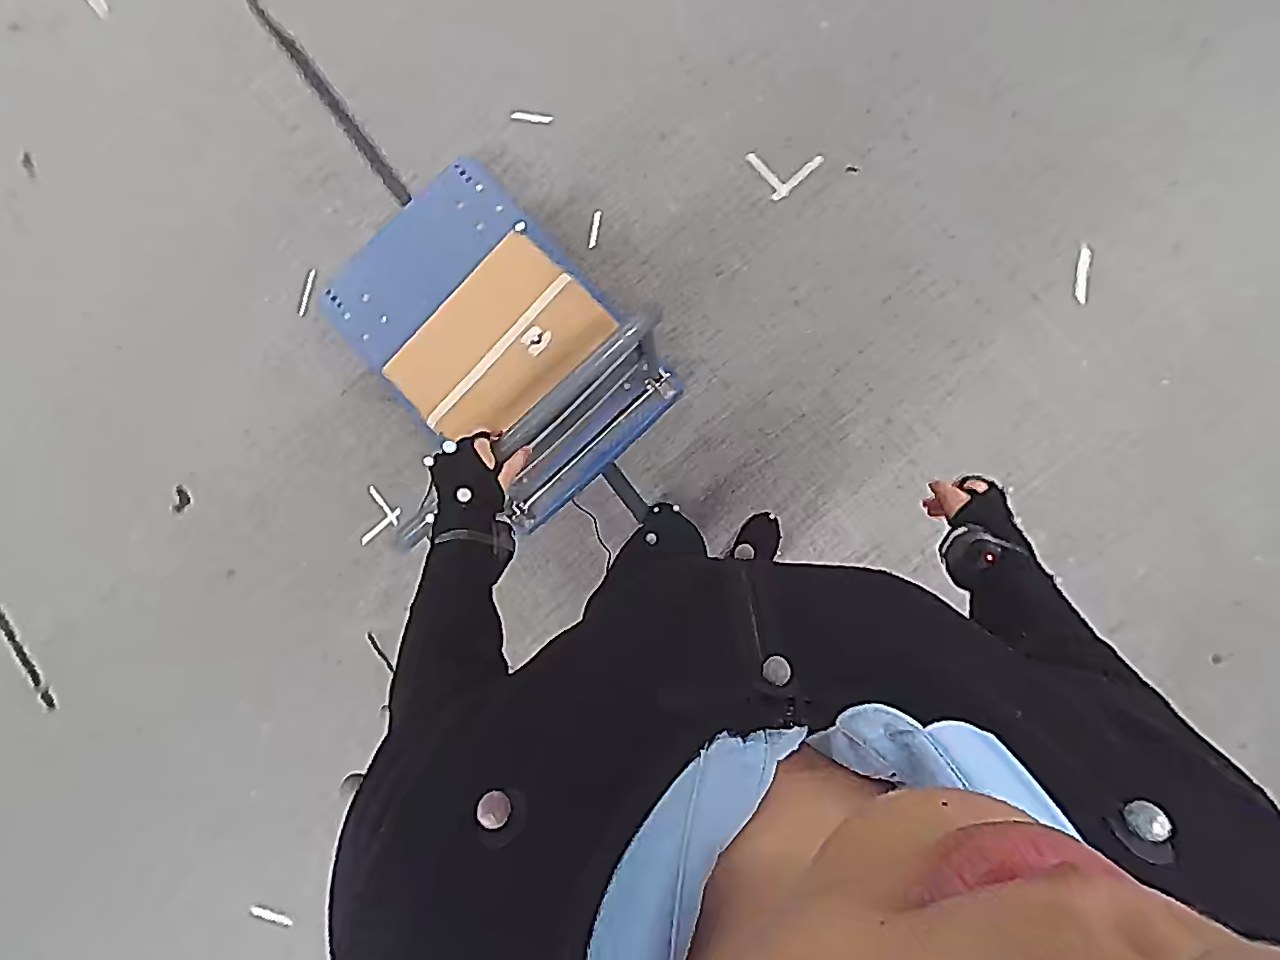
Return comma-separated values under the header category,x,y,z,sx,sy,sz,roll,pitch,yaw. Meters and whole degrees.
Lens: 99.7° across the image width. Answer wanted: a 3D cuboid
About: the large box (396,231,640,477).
category,x,y,z,sx,sy,sz,roll,pitch,yaw
large box,-0.255,-0.258,1.248,0.320,0.320,0.408,45,91,5
